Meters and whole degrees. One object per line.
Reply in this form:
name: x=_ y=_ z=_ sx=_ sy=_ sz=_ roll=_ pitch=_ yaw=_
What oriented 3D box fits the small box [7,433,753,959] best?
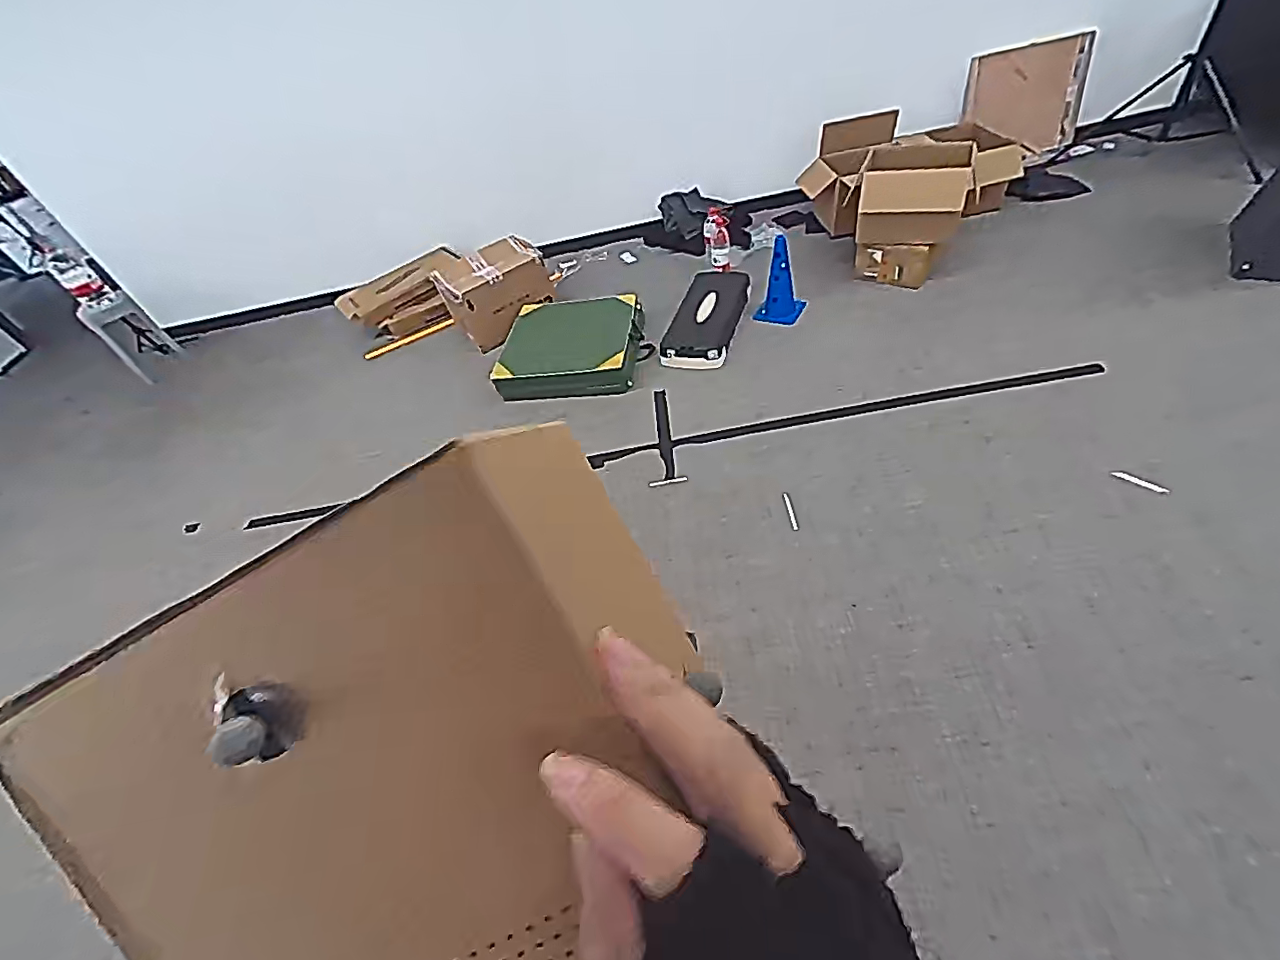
small box: x=-0.076 y=0.095 z=0.240 sx=0.179 sy=0.176 sz=0.168 roll=-28 pitch=6 yaw=4
